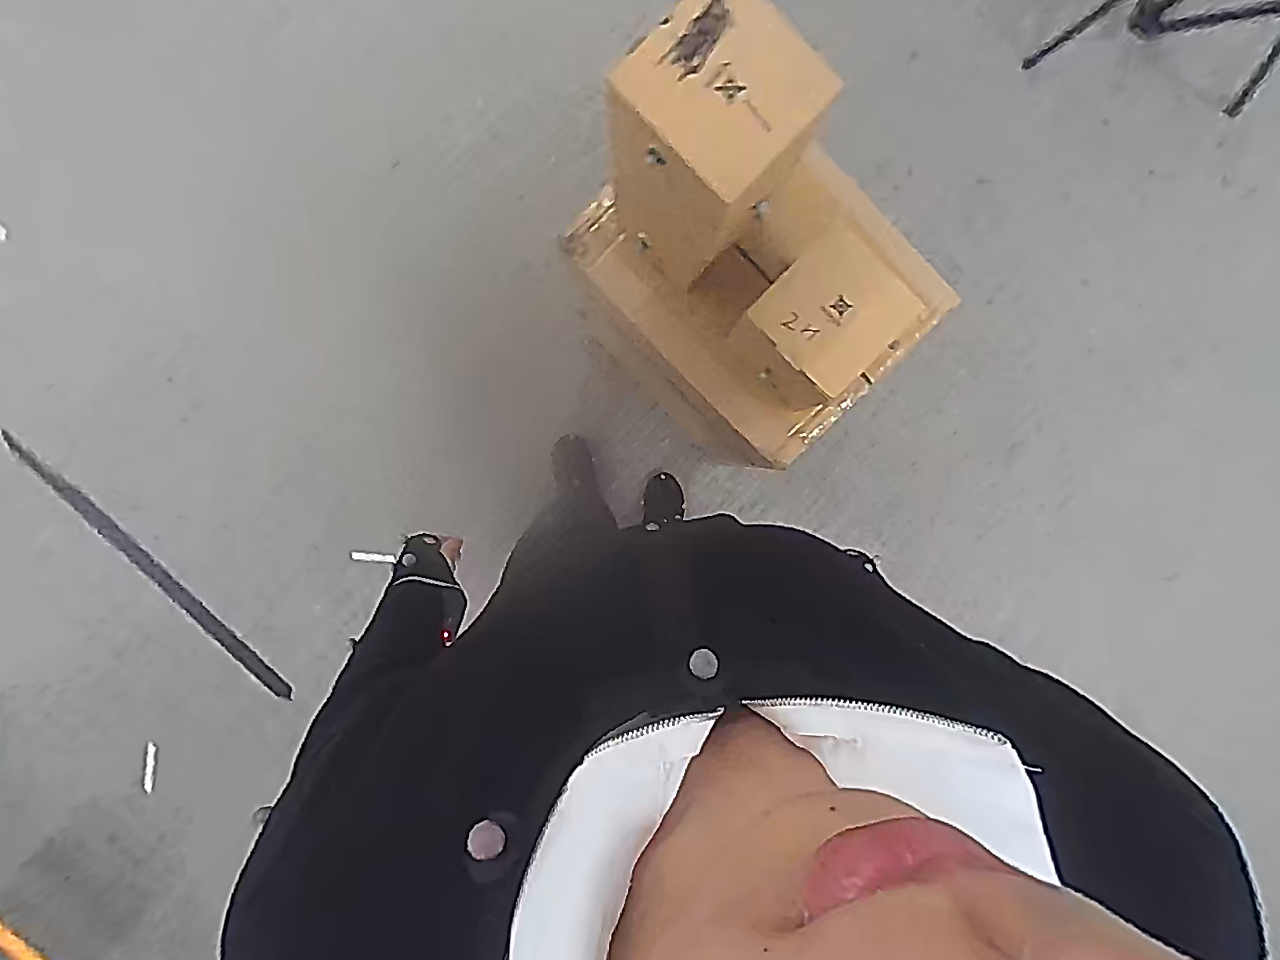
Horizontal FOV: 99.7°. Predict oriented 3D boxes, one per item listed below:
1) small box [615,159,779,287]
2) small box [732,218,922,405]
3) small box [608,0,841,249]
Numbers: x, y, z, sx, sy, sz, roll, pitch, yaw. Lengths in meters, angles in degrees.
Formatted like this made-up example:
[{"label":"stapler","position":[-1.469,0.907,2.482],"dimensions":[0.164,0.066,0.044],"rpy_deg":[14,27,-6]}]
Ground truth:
[{"label":"small box","position":[0.082,-0.414,0.779],"dimensions":[0.179,0.176,0.168],"rpy_deg":[-45,92,3]},{"label":"small box","position":[0.255,-0.230,0.787],"dimensions":[0.179,0.176,0.168],"rpy_deg":[-45,91,2]},{"label":"small box","position":[0.083,-0.402,0.615],"dimensions":[0.179,0.176,0.168],"rpy_deg":[45,92,-3]}]
